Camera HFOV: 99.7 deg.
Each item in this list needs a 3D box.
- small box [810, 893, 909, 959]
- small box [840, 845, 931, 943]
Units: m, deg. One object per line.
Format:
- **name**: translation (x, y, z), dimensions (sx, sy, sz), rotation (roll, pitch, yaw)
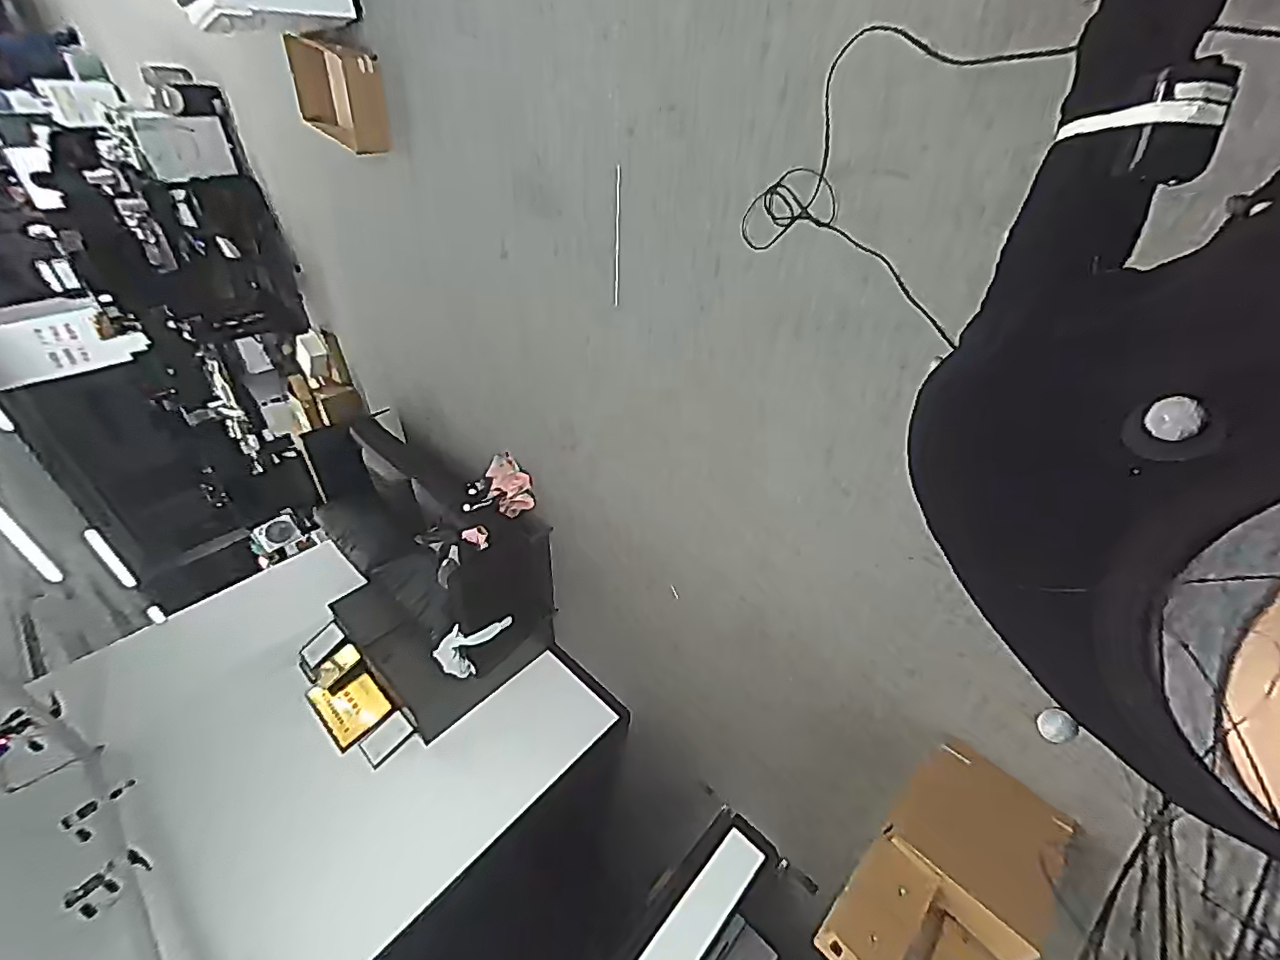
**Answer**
- **small box**: translation (0.626, 1.325, 1.542), dimensions (0.179, 0.176, 0.168), rotation (36, 137, 28)
- **small box**: translation (0.742, 1.261, 1.637), dimensions (0.179, 0.176, 0.168), rotation (35, 135, 28)
